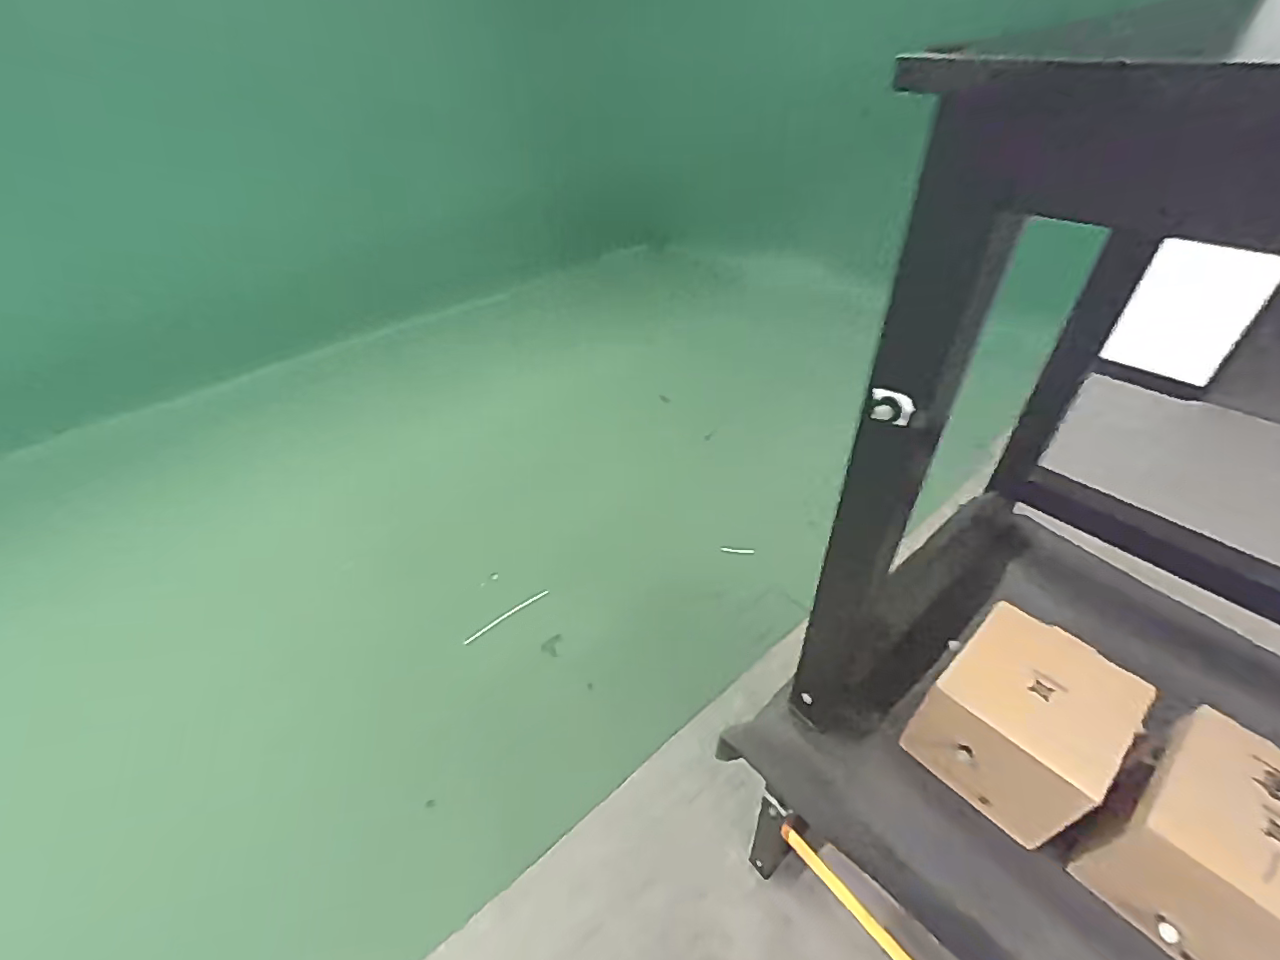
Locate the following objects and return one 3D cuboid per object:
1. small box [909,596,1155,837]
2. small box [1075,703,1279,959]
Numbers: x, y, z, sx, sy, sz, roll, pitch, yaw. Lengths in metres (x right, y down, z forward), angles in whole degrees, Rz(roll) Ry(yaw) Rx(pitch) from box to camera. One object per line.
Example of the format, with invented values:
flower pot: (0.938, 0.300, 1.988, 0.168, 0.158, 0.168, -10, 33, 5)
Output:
small box: (0.456, 0.286, 0.657, 0.179, 0.176, 0.168, -31, 49, -27)
small box: (0.591, 0.374, 0.545, 0.179, 0.176, 0.168, -31, 47, -26)
